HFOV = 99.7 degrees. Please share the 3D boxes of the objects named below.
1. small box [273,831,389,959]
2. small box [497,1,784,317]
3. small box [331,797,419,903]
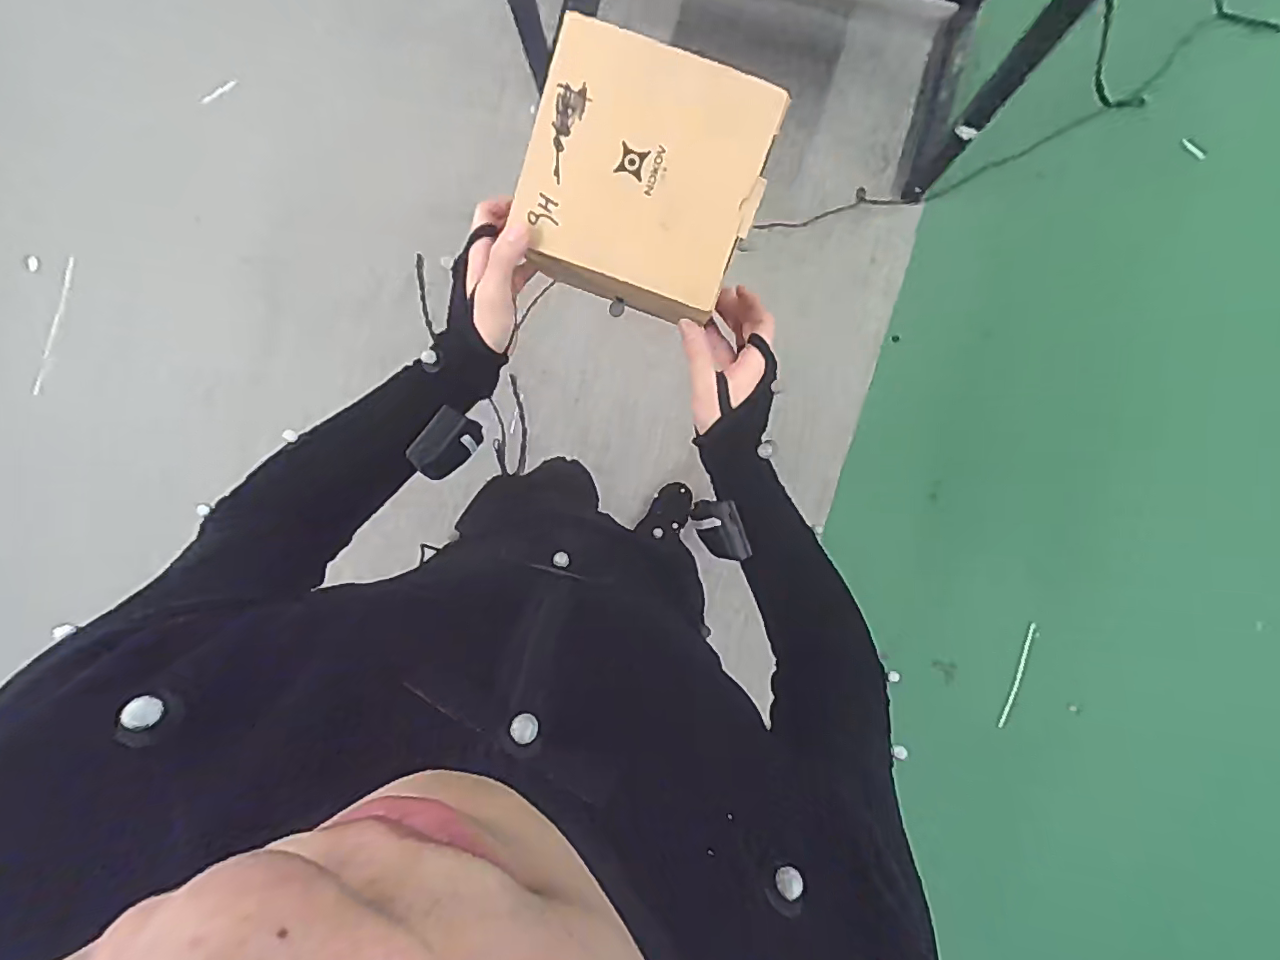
[{"bbox_3d":[-0.775,1.048,1.378,0.168,0.176,0.179,23,91,4],"label":"small box"},{"bbox_3d":[-0.001,-0.255,0.483,0.179,0.176,0.168,20,100,-2],"label":"small box"},{"bbox_3d":[-0.770,1.045,1.541,0.179,0.176,0.168,23,91,2],"label":"small box"}]
